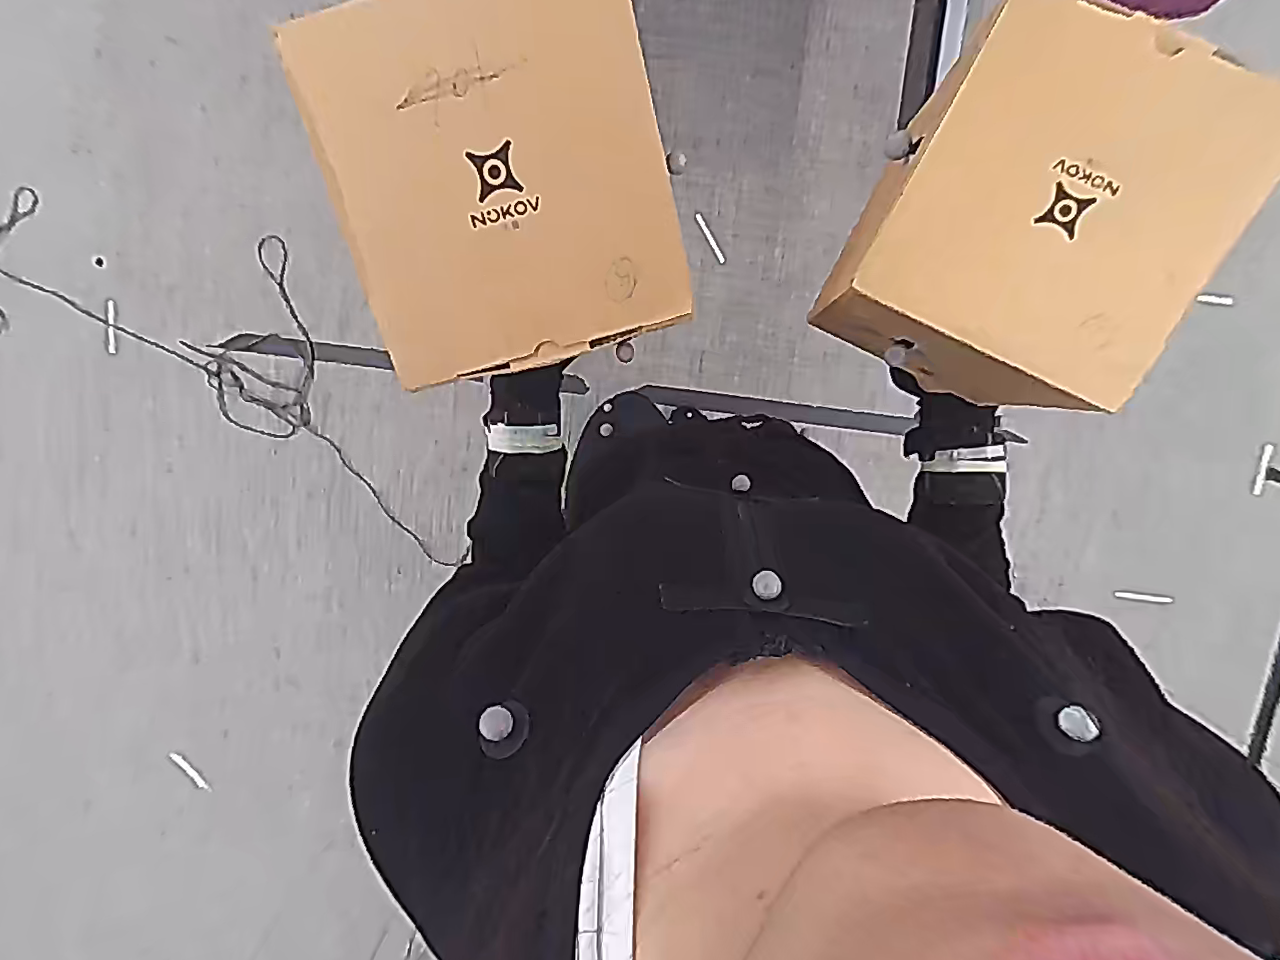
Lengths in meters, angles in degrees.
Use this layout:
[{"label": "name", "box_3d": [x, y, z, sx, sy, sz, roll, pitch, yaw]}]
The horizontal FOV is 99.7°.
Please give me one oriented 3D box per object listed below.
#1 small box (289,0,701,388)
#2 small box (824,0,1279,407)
[{"label": "small box", "box_3d": [-0.064, -0.170, 0.344, 0.168, 0.176, 0.179, -14, 104, 4]}, {"label": "small box", "box_3d": [0.245, -0.163, 0.369, 0.168, 0.176, 0.179, 27, 101, 3]}]
